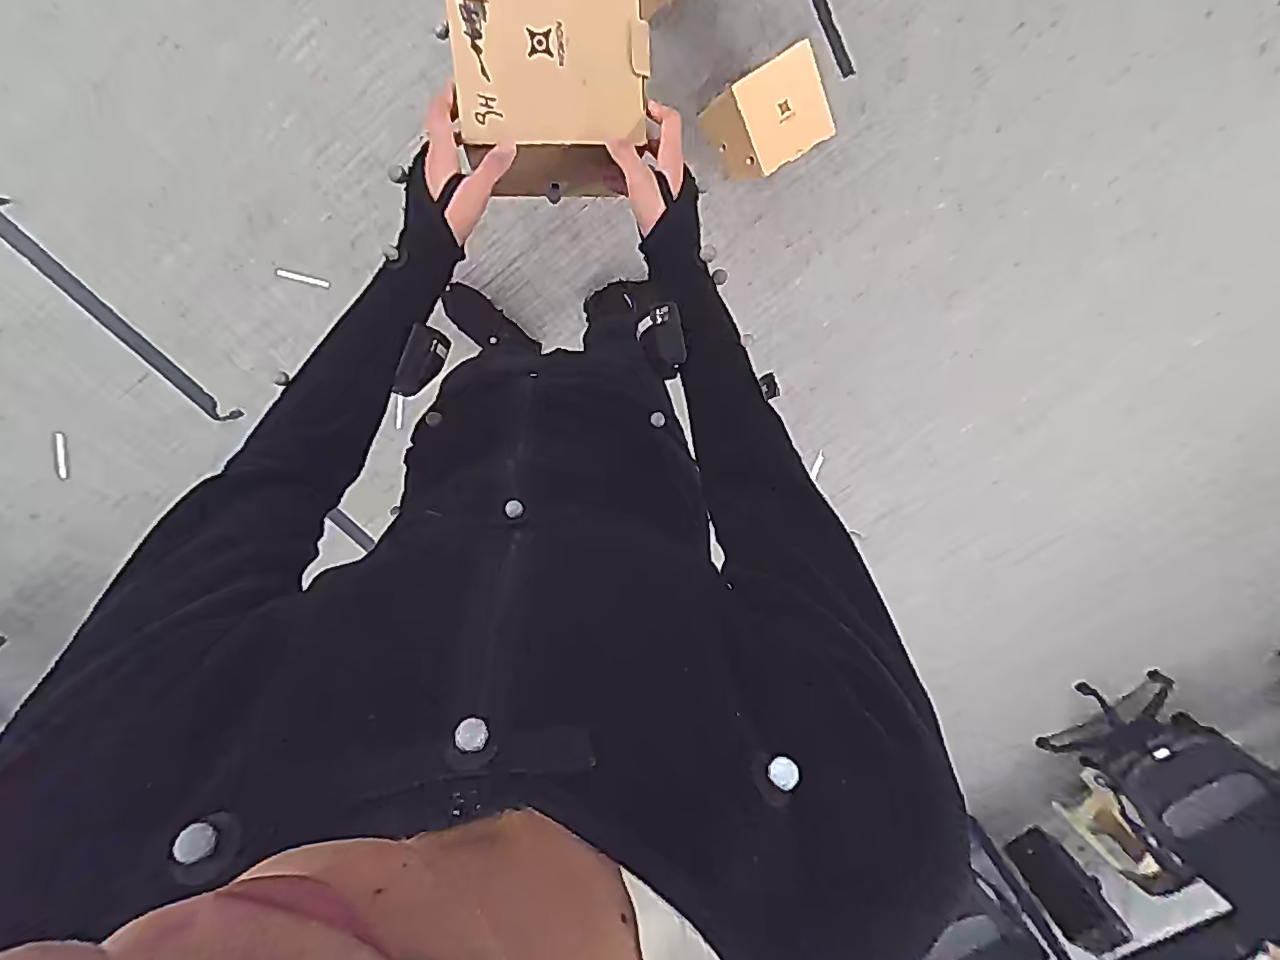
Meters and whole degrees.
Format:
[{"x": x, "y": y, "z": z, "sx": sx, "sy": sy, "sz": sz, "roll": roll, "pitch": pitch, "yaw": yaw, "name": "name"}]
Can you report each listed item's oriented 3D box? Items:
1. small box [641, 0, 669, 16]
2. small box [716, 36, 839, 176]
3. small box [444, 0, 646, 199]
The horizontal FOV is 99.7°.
[{"x": 0.046, "y": -1.108, "z": 1.099, "sx": 0.179, "sy": 0.176, "sz": 0.168, "roll": -37, "pitch": 115, "yaw": 11, "name": "small box"}, {"x": 0.278, "y": -0.760, "z": 1.124, "sx": 0.168, "sy": 0.176, "sz": 0.179, "roll": -29, "pitch": 117, "yaw": 7, "name": "small box"}, {"x": -0.098, "y": -0.405, "z": 0.562, "sx": 0.179, "sy": 0.176, "sz": 0.168, "roll": -5, "pitch": 103, "yaw": -10, "name": "small box"}]
